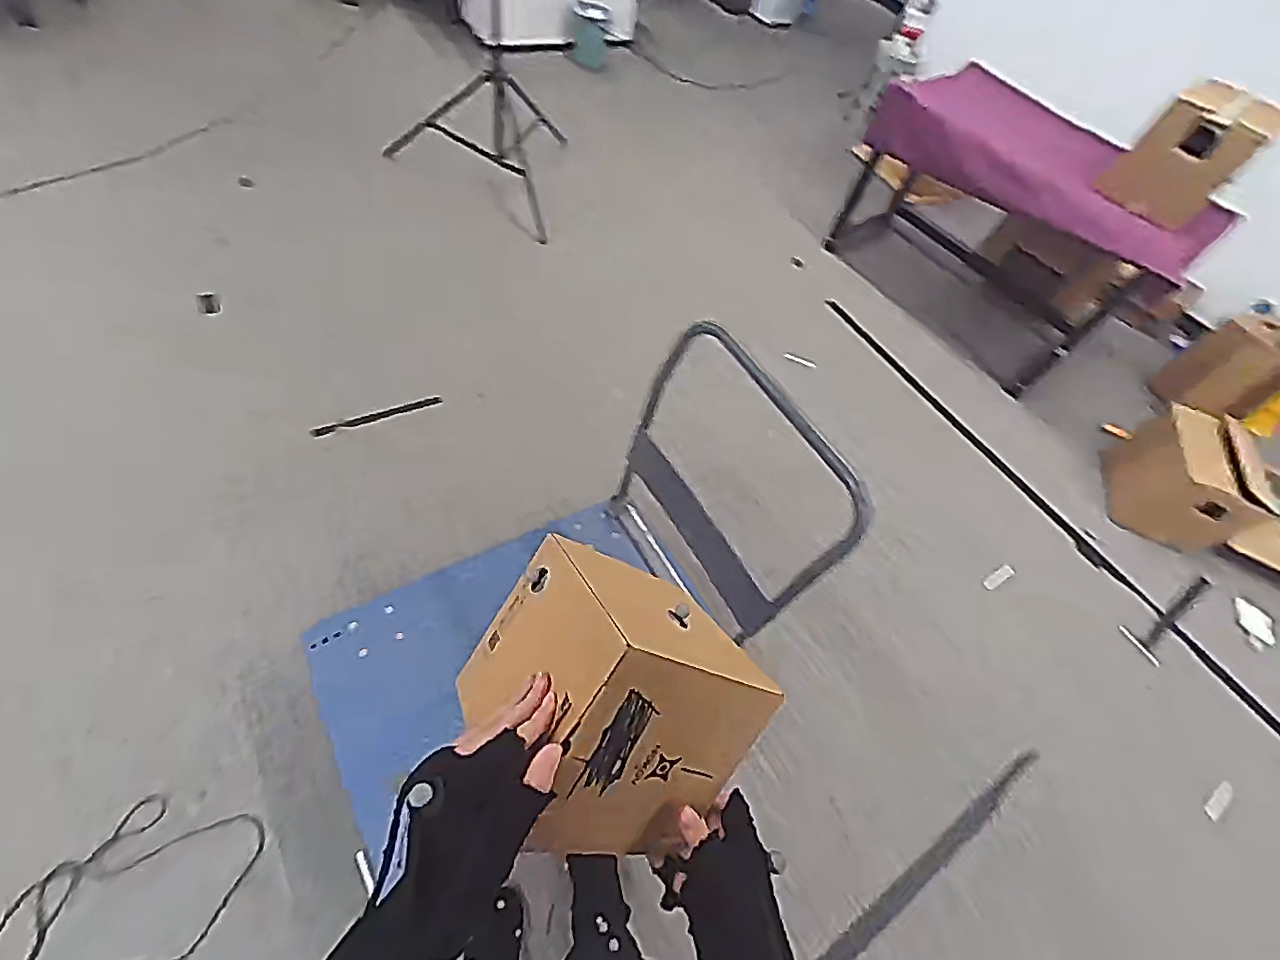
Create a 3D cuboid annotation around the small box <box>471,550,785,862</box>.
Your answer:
[{"bbox_3d":[-0.022,0.181,0.462,0.179,0.168,0.176,30,5,-34],"label":"small box"}]
